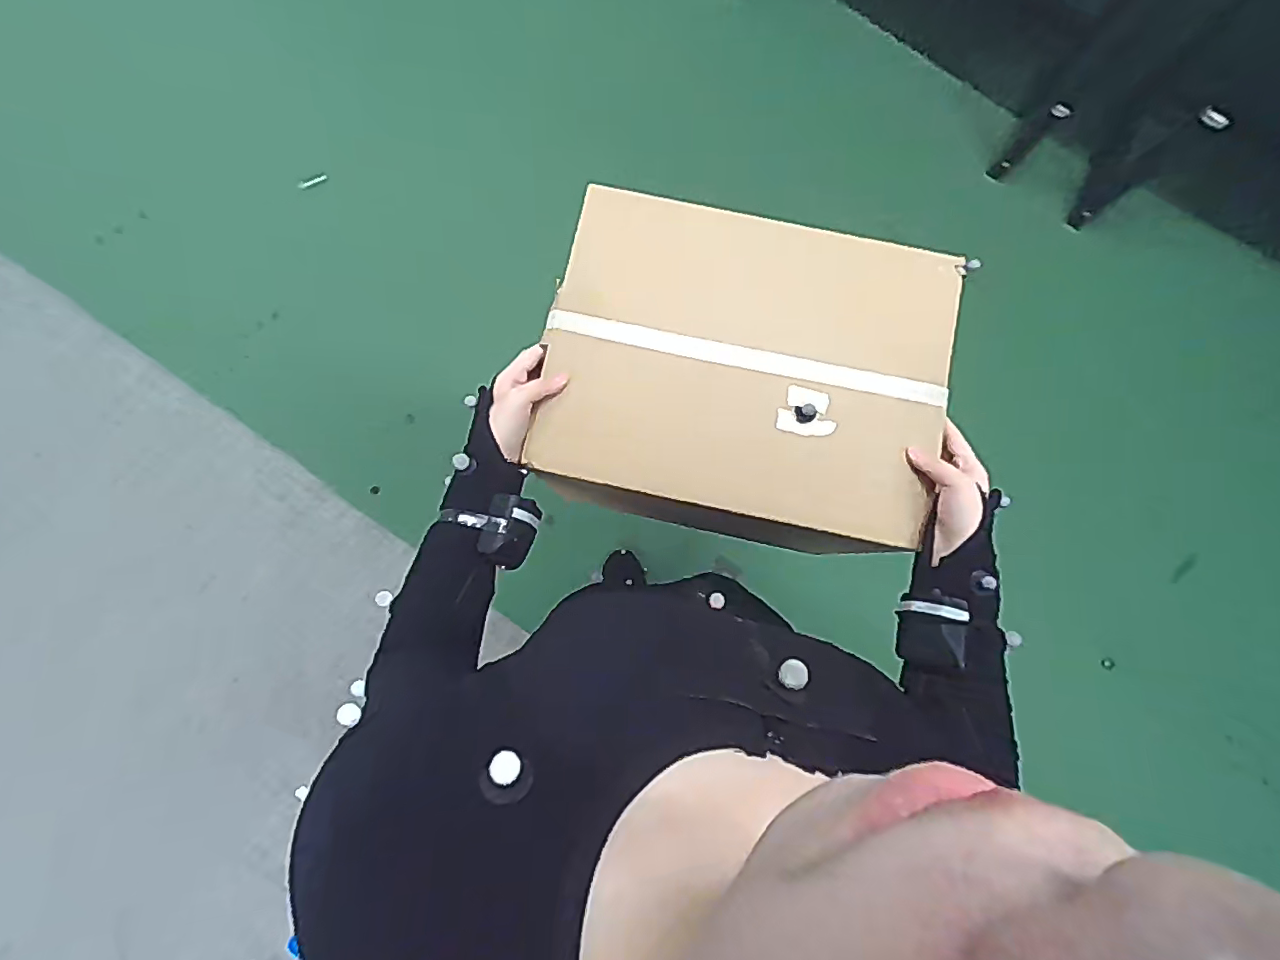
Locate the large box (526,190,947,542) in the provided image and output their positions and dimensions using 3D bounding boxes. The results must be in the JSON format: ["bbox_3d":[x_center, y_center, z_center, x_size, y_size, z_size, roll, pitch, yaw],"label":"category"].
[{"bbox_3d":[0.102,-0.109,0.702,0.408,0.320,0.320,11,82,1],"label":"large box"}]
